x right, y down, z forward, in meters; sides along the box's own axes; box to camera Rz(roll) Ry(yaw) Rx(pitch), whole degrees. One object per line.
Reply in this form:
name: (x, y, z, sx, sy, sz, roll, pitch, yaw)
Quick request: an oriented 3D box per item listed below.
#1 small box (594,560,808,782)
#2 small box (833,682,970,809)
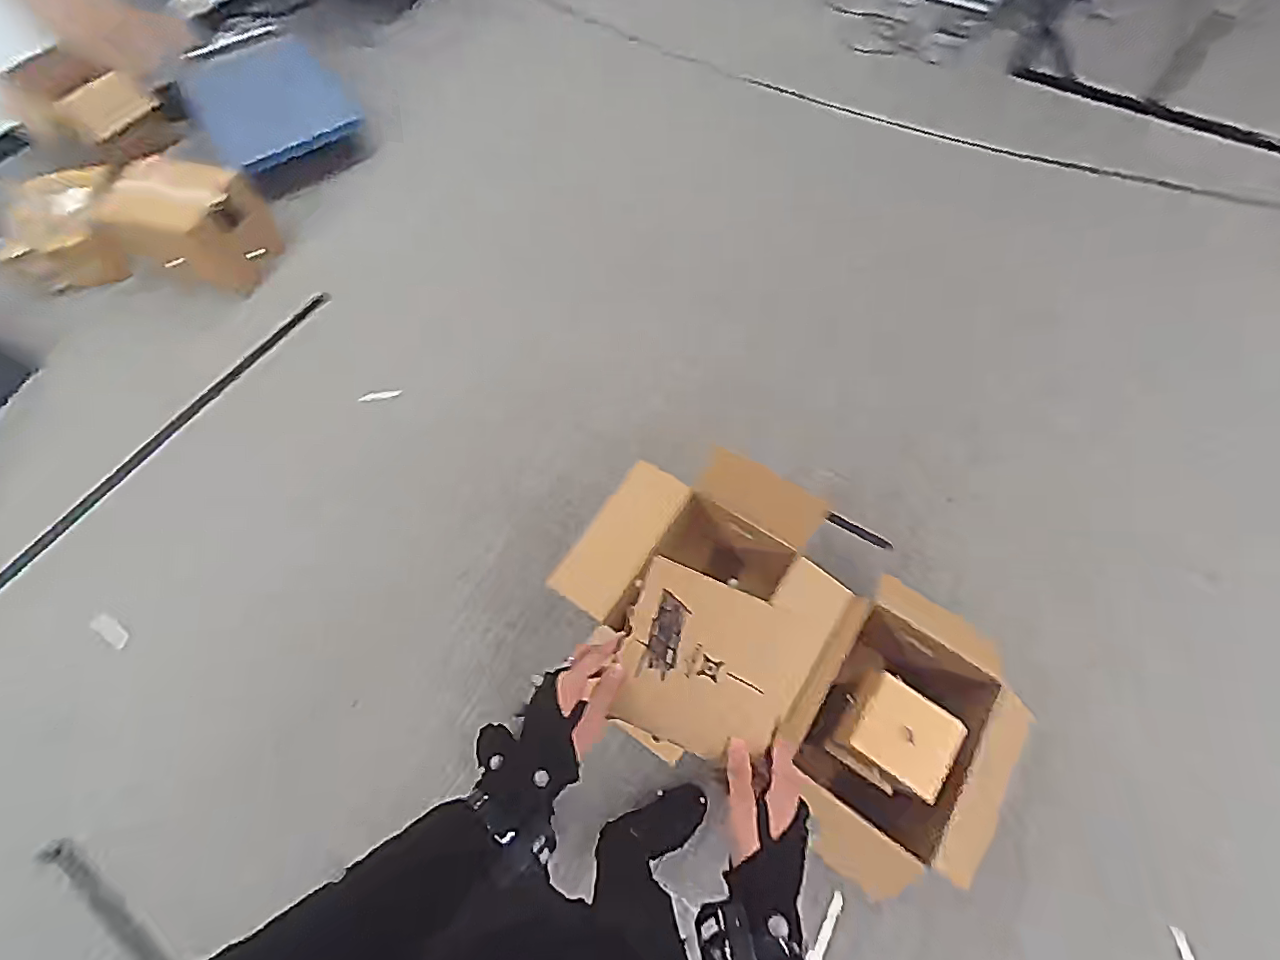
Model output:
small box: (0.065, 0.207, 0.625, 0.179, 0.176, 0.168, 22, 79, 6)
small box: (0.540, 0.548, 1.141, 0.179, 0.176, 0.168, 34, 73, 16)
